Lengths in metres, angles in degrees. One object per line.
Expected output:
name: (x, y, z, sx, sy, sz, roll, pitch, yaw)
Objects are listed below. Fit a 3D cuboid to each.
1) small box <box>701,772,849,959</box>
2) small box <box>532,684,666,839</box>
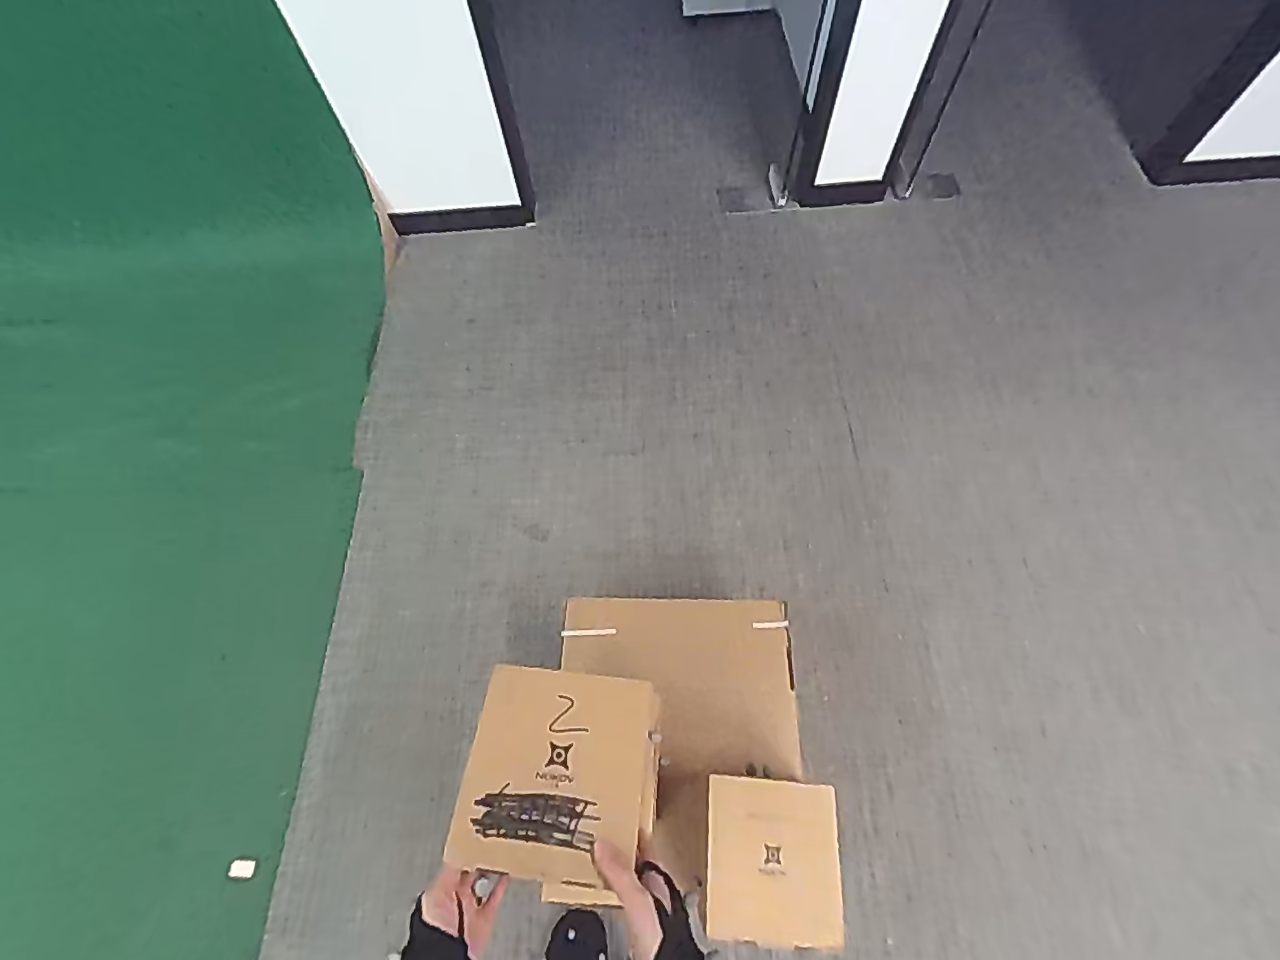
small box: (0.173, 0.506, 0.738, 0.168, 0.176, 0.179, 4, 62, 4)
small box: (-0.048, 0.412, 0.800, 0.168, 0.176, 0.179, 2, 62, 6)
